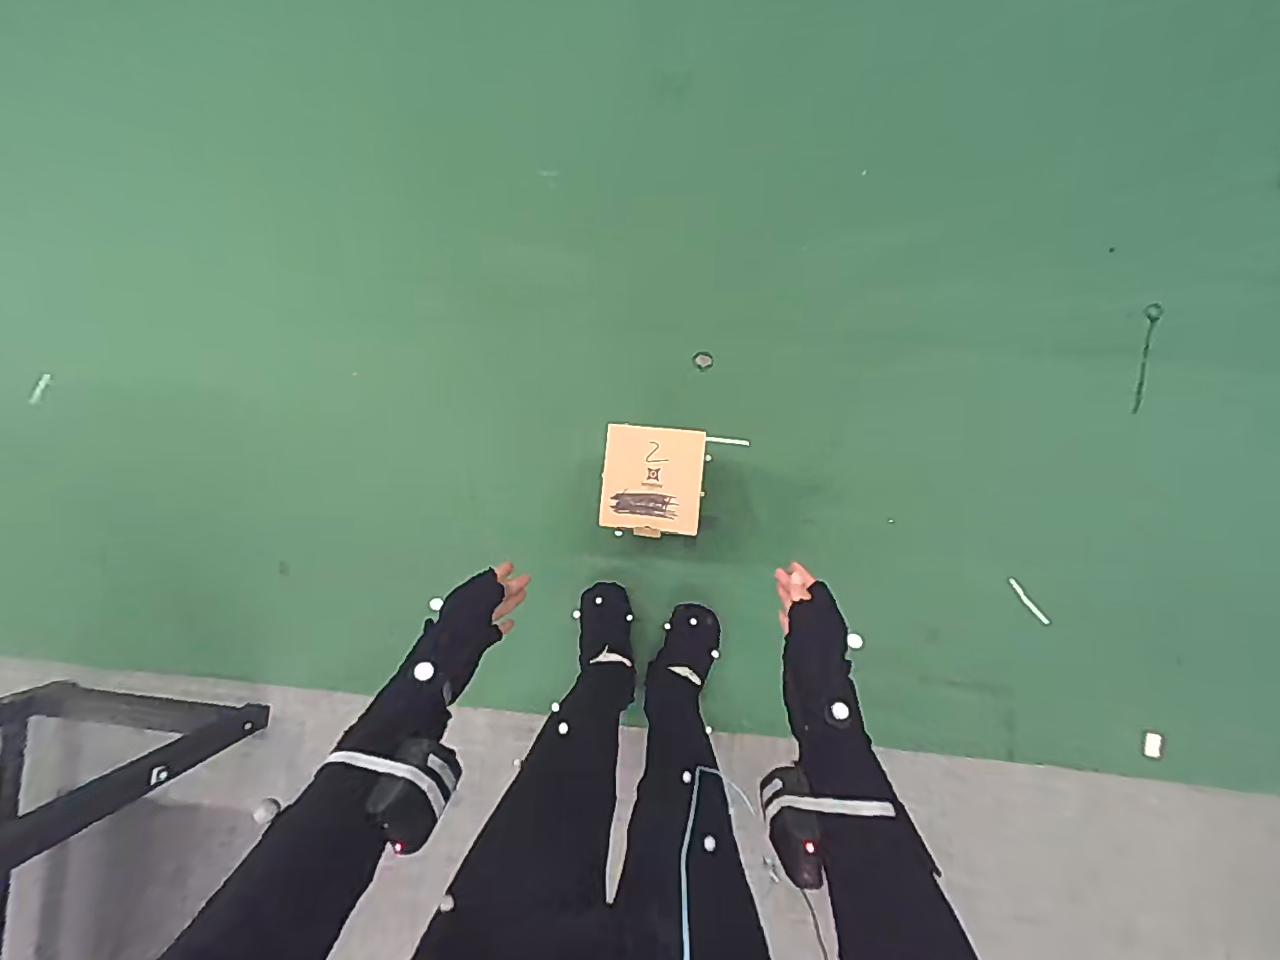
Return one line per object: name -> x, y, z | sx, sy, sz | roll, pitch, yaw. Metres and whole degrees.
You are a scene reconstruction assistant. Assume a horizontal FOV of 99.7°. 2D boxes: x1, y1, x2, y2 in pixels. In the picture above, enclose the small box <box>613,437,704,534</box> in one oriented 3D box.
small box -> 0.044, 0.012, 1.137 | 0.168, 0.176, 0.179 | 6, 89, 5
